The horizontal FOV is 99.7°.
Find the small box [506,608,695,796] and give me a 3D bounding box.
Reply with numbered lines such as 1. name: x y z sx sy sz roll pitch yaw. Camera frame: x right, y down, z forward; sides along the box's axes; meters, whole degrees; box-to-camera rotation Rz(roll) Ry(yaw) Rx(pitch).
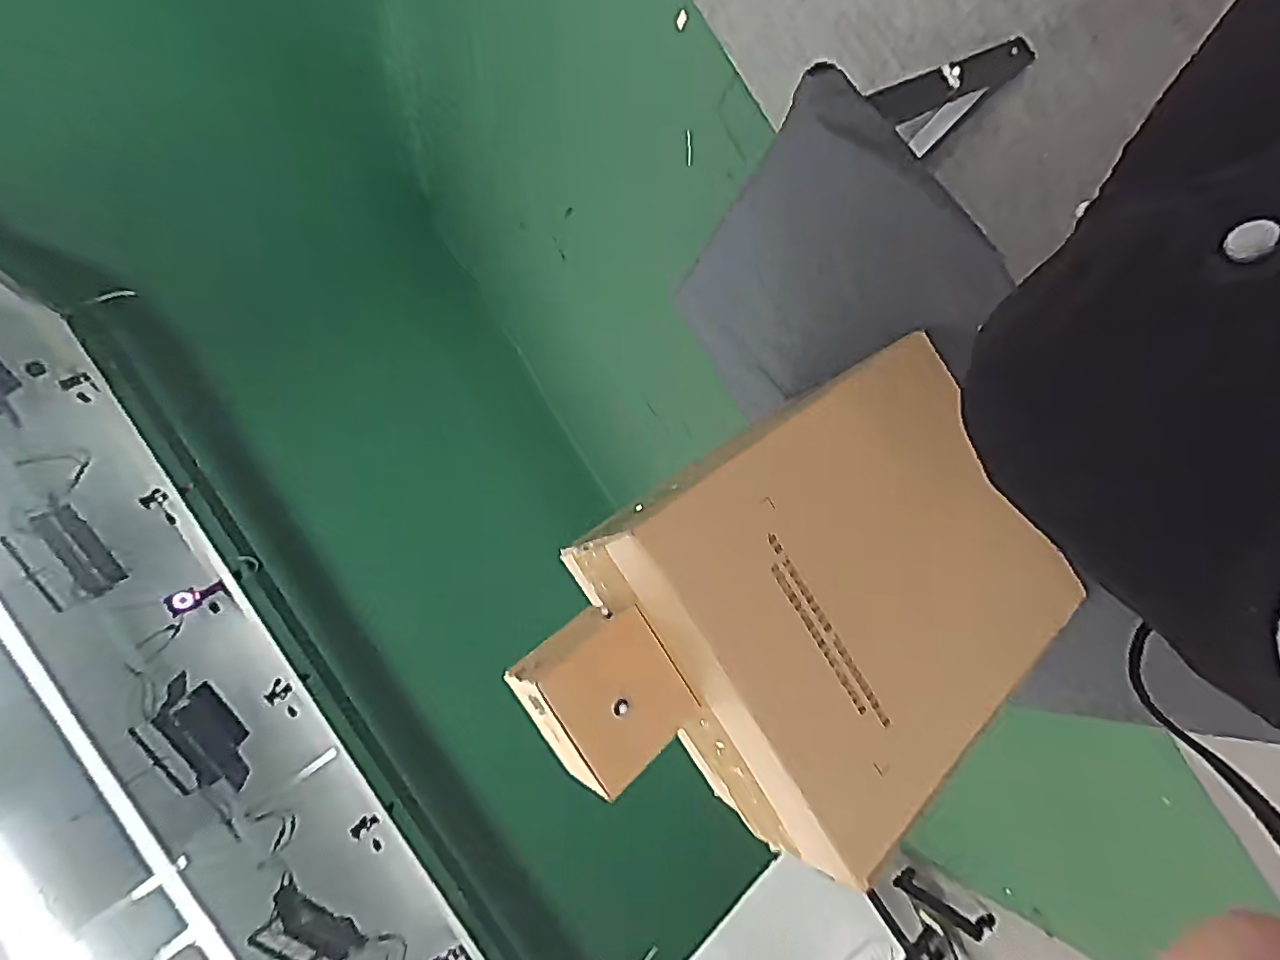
1. small box: -0.057 0.296 0.767 0.179 0.176 0.168 57 150 -3
